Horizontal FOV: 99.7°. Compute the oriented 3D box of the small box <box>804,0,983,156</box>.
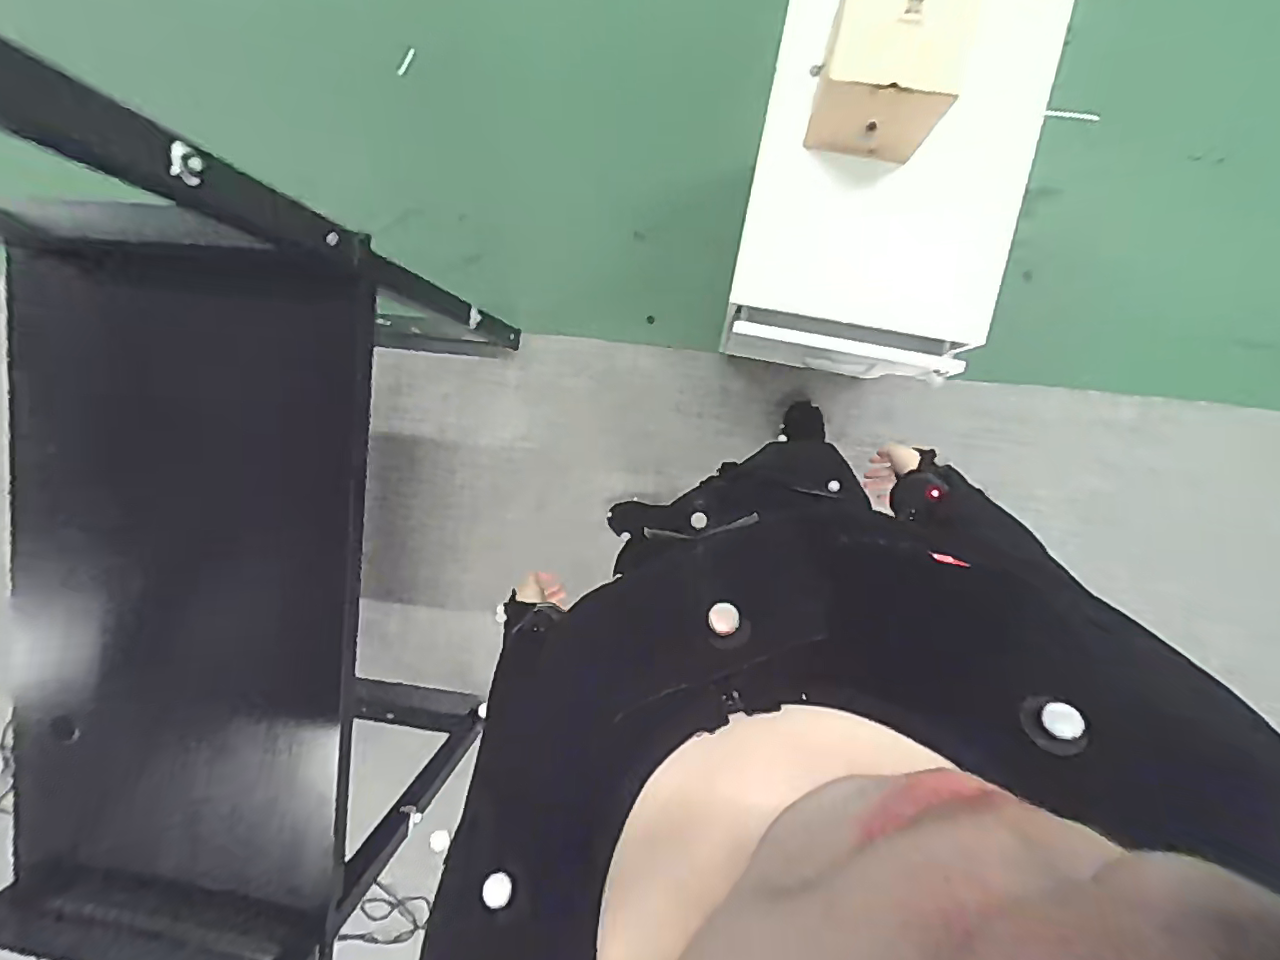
[{"bbox_3d":[0.329,-0.569,0.725,0.168,0.176,0.179,12,97,4],"label":"small box"}]
